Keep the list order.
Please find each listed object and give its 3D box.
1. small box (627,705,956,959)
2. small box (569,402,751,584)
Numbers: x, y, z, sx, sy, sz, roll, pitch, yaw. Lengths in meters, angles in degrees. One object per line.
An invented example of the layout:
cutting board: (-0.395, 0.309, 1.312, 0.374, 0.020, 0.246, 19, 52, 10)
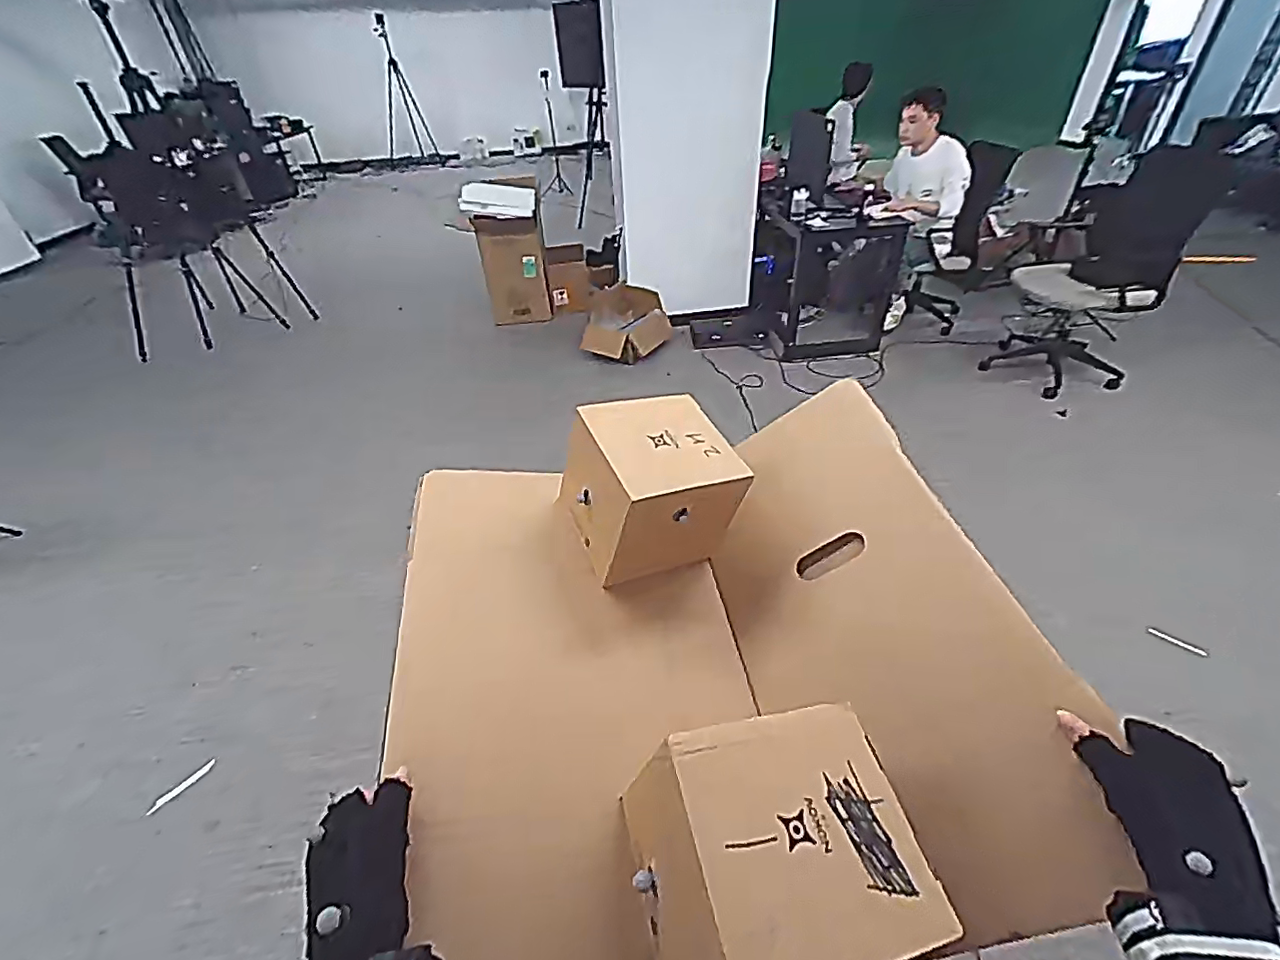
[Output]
small box: (0.103, 0.312, 0.452, 0.179, 0.176, 0.168, -2, 47, -19)
small box: (0.012, 0.017, 0.725, 0.179, 0.176, 0.168, -10, 50, -28)
